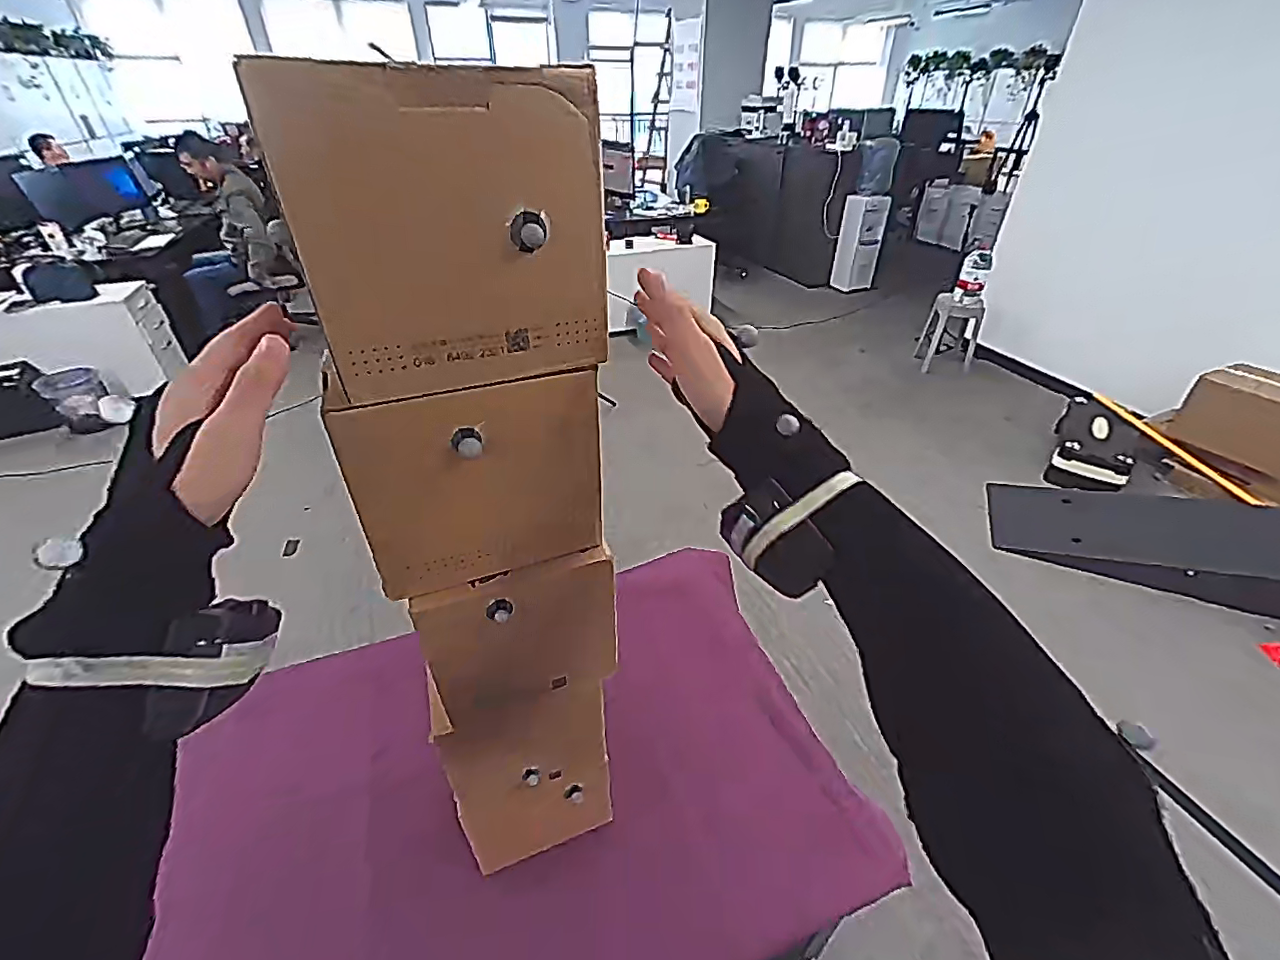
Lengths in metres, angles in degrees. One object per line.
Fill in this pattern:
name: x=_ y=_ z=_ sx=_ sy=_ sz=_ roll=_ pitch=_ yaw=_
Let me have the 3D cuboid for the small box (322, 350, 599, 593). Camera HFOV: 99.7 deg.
small box: x=-0.140 y=-0.035 z=0.454 sx=0.179 sy=0.176 sz=0.168 roll=-14 pitch=38 yaw=-18

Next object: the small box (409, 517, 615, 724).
small box: x=-0.129 y=0.102 z=0.542 sx=0.168 sy=0.176 sz=0.179 roll=-13 pitch=37 yaw=-18

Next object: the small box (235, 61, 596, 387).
small box: x=-0.134 y=-0.171 z=0.365 sx=0.168 sy=0.176 sz=0.179 roll=-14 pitch=37 yaw=-20

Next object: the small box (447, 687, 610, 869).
small box: x=-0.146 y=0.373 z=0.726 sx=0.179 sy=0.176 sz=0.168 roll=-14 pitch=37 yaw=-17
